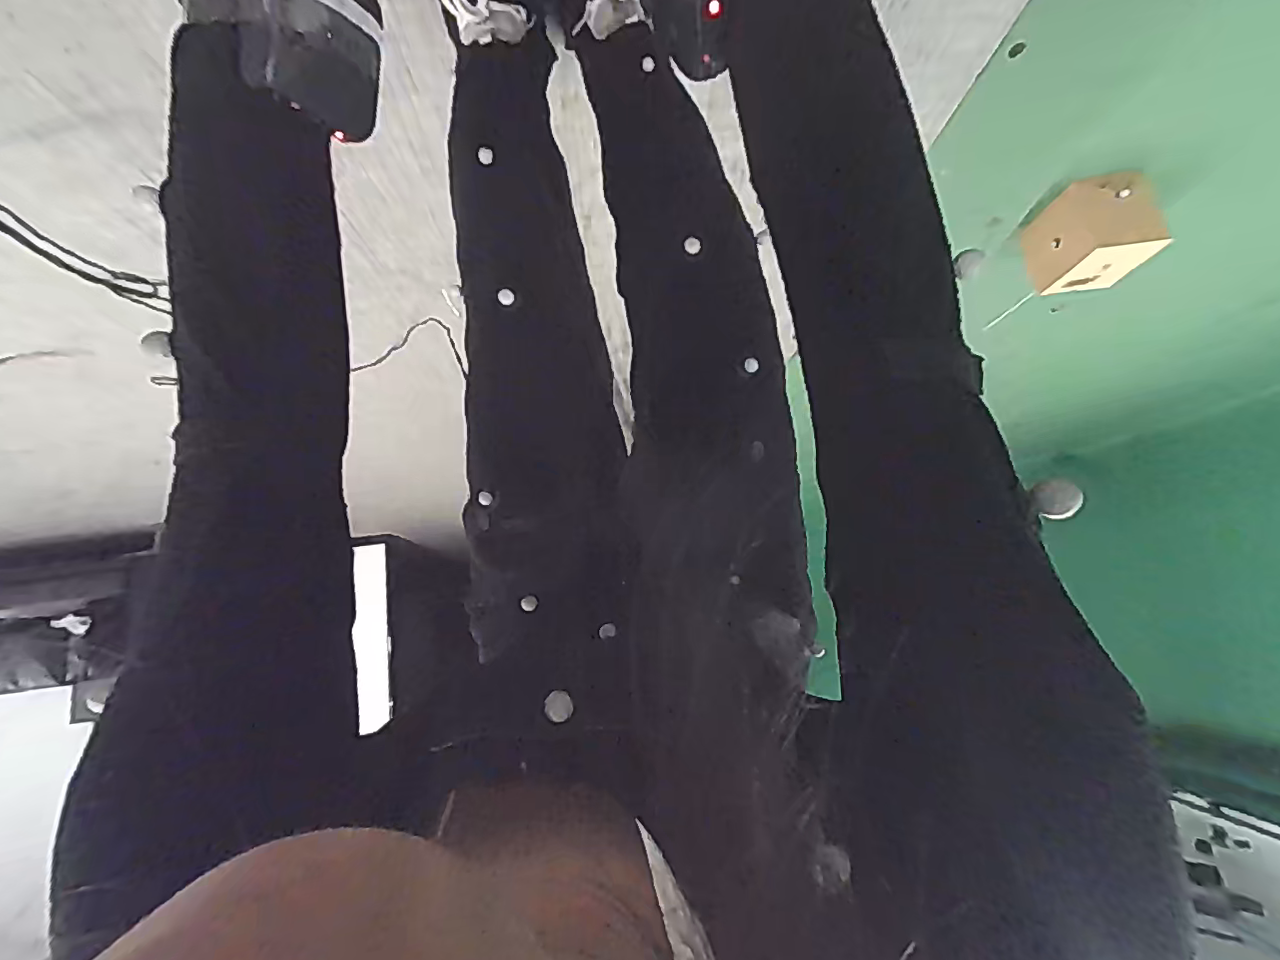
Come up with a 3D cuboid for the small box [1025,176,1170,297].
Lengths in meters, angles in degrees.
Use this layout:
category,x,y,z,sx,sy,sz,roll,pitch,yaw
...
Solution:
category,x,y,z,sx,sy,sz,roll,pitch,yaw
small box,1.000,-0.537,1.202,0.168,0.176,0.179,-7,167,0
